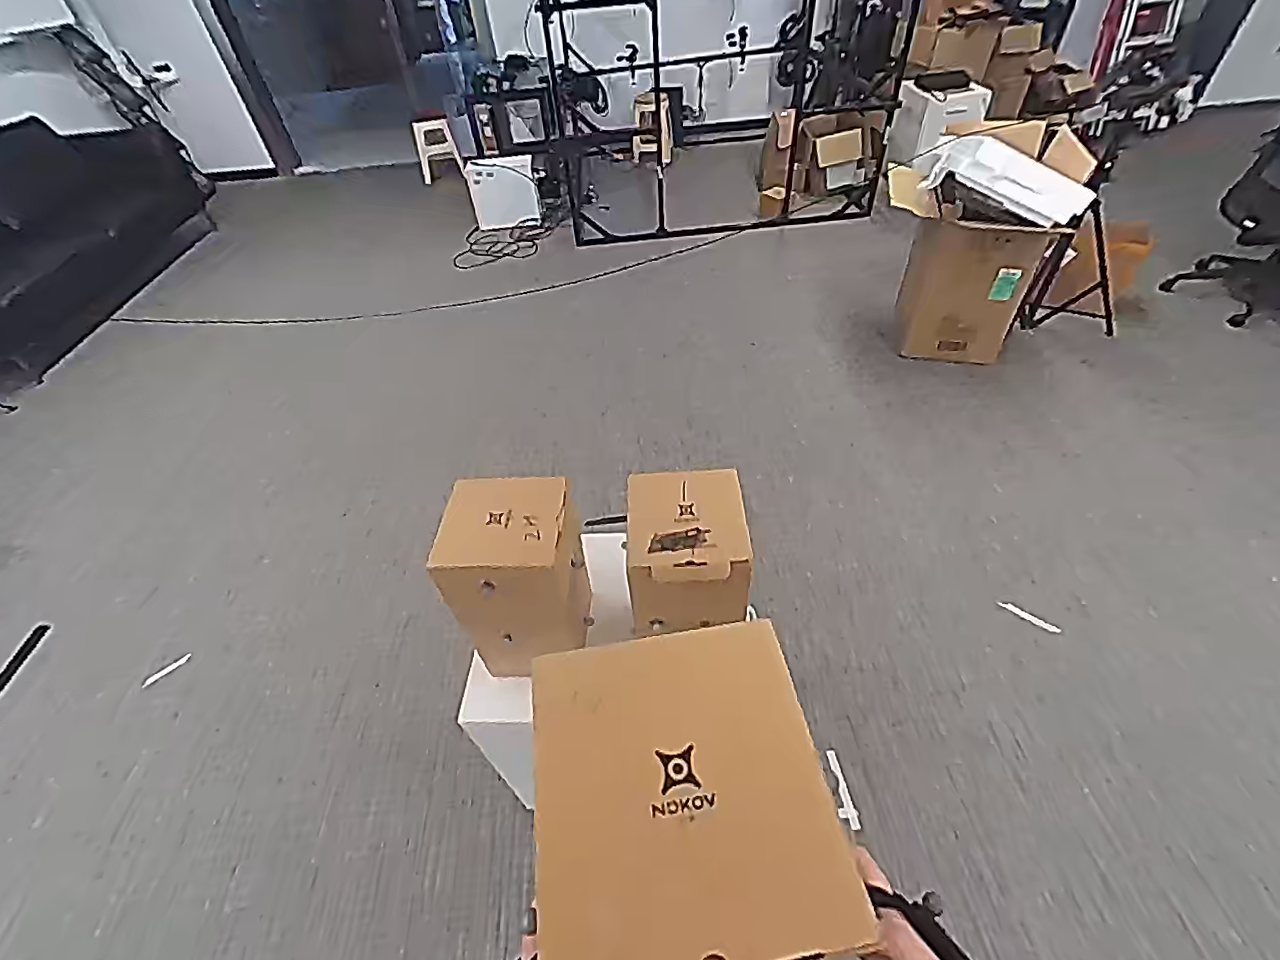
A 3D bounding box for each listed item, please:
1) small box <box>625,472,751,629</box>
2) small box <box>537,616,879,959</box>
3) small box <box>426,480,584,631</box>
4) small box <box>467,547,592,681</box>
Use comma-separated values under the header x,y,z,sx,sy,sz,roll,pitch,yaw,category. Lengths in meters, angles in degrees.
x,y,z,sx,sy,sz,roll,pitch,yaw,category
0.069,0.110,0.808,0.168,0.176,0.179,-3,45,3,small box
0.025,0.220,0.369,0.168,0.176,0.179,-8,49,-5,small box
-0.191,0.118,0.823,0.179,0.176,0.168,-1,46,4,small box
-0.180,0.230,0.943,0.168,0.176,0.179,-1,45,4,small box
